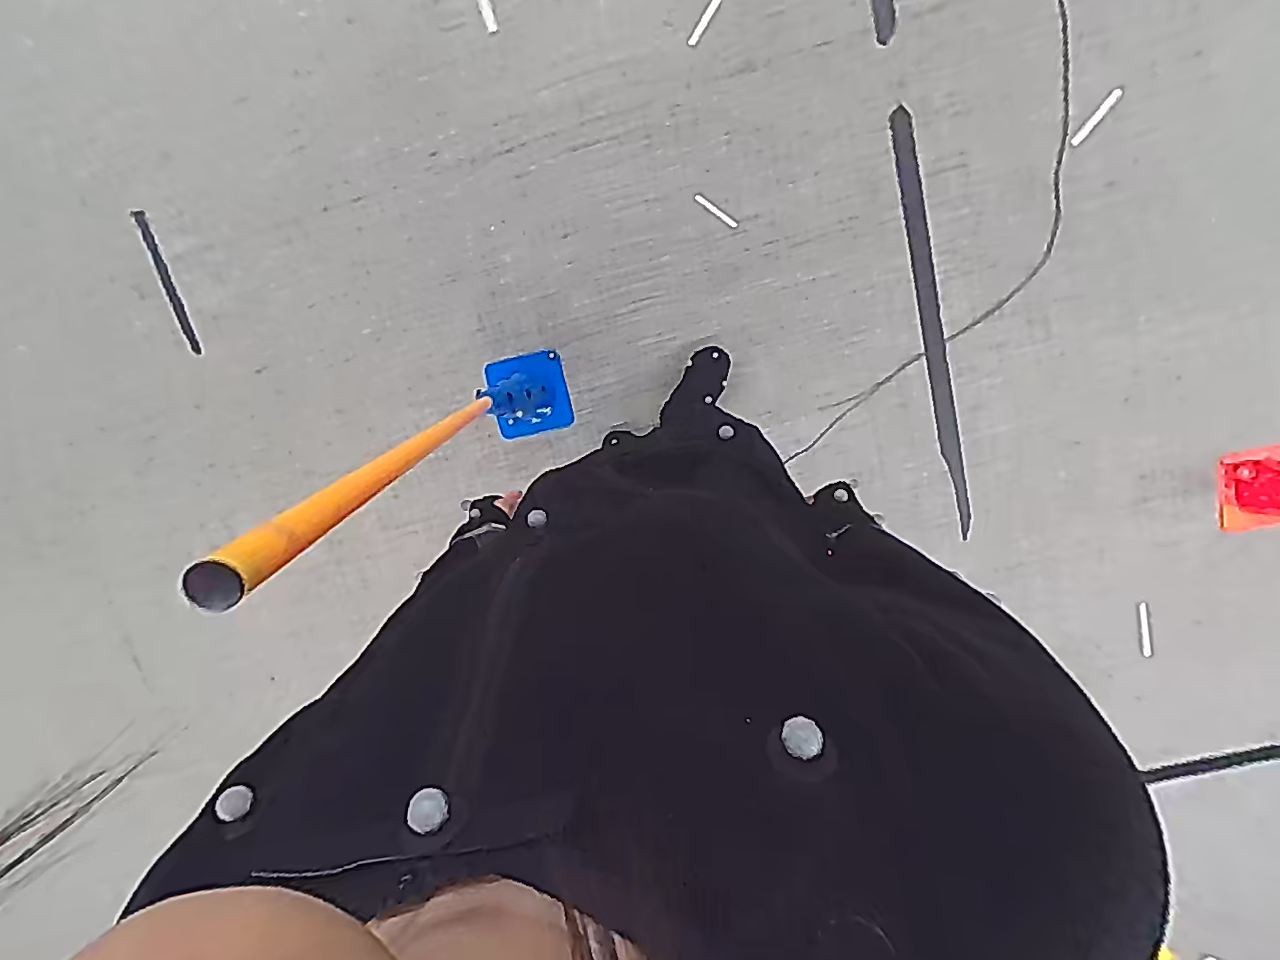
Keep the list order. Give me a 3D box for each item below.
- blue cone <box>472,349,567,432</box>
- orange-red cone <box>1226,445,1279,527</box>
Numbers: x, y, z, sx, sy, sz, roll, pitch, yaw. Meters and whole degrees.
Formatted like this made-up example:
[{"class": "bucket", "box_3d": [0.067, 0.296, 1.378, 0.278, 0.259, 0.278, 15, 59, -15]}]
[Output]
[{"class": "blue cone", "box_3d": [-0.297, -0.195, 1.222, 0.193, 0.380, 0.192, -11, 100, 5]}, {"class": "orange-red cone", "box_3d": [1.534, 0.043, 1.156, 0.198, 0.360, 0.199, -11, 101, 5]}]
